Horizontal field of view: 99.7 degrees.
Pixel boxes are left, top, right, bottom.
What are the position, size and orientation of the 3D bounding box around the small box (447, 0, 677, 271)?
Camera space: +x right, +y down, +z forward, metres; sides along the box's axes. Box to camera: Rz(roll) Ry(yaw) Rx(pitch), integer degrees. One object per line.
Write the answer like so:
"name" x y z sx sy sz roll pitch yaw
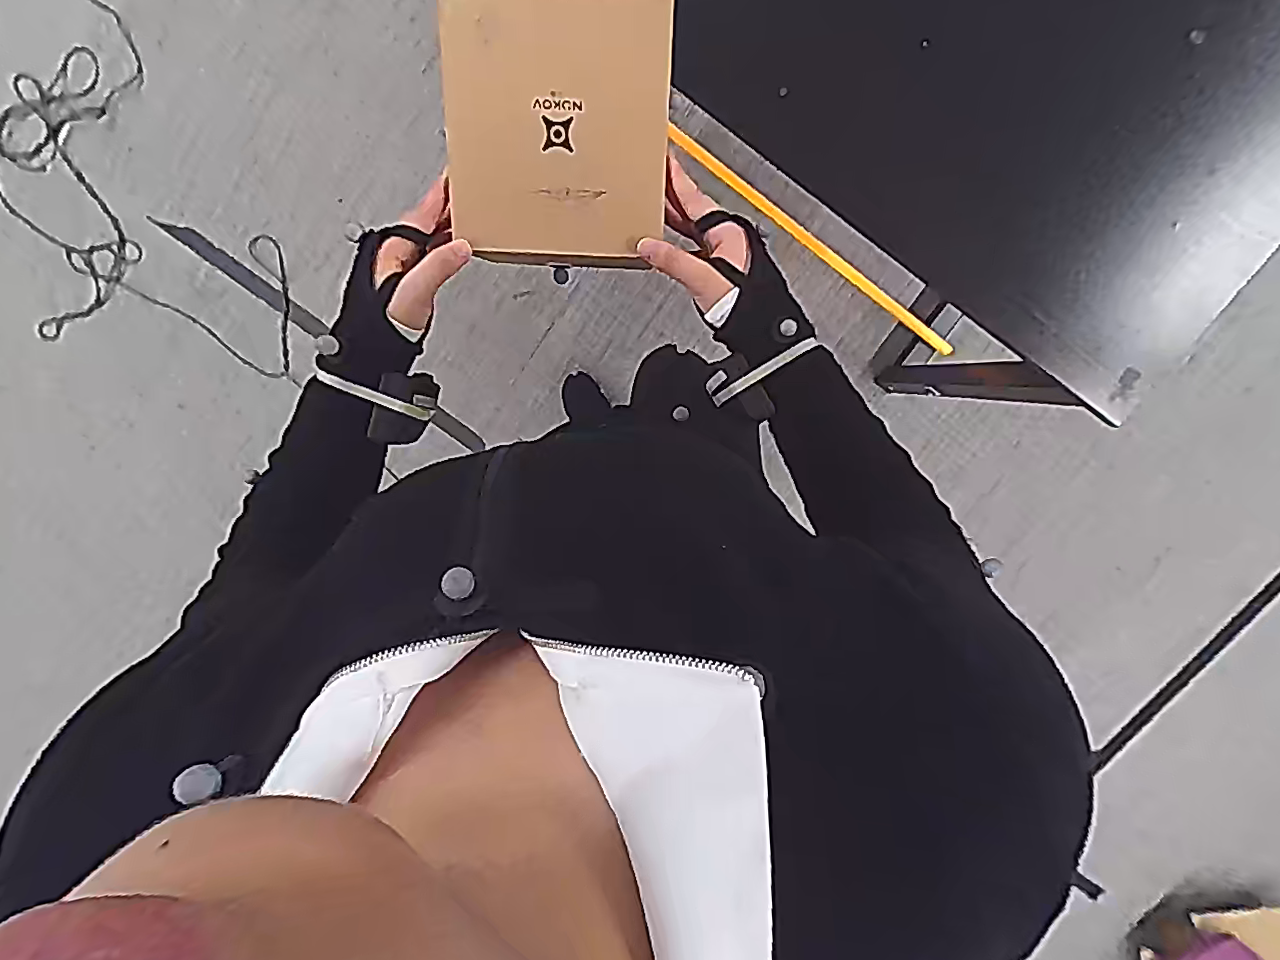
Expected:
"small box" -0.063 -0.290 0.481 0.168 0.176 0.179 2 108 -3
